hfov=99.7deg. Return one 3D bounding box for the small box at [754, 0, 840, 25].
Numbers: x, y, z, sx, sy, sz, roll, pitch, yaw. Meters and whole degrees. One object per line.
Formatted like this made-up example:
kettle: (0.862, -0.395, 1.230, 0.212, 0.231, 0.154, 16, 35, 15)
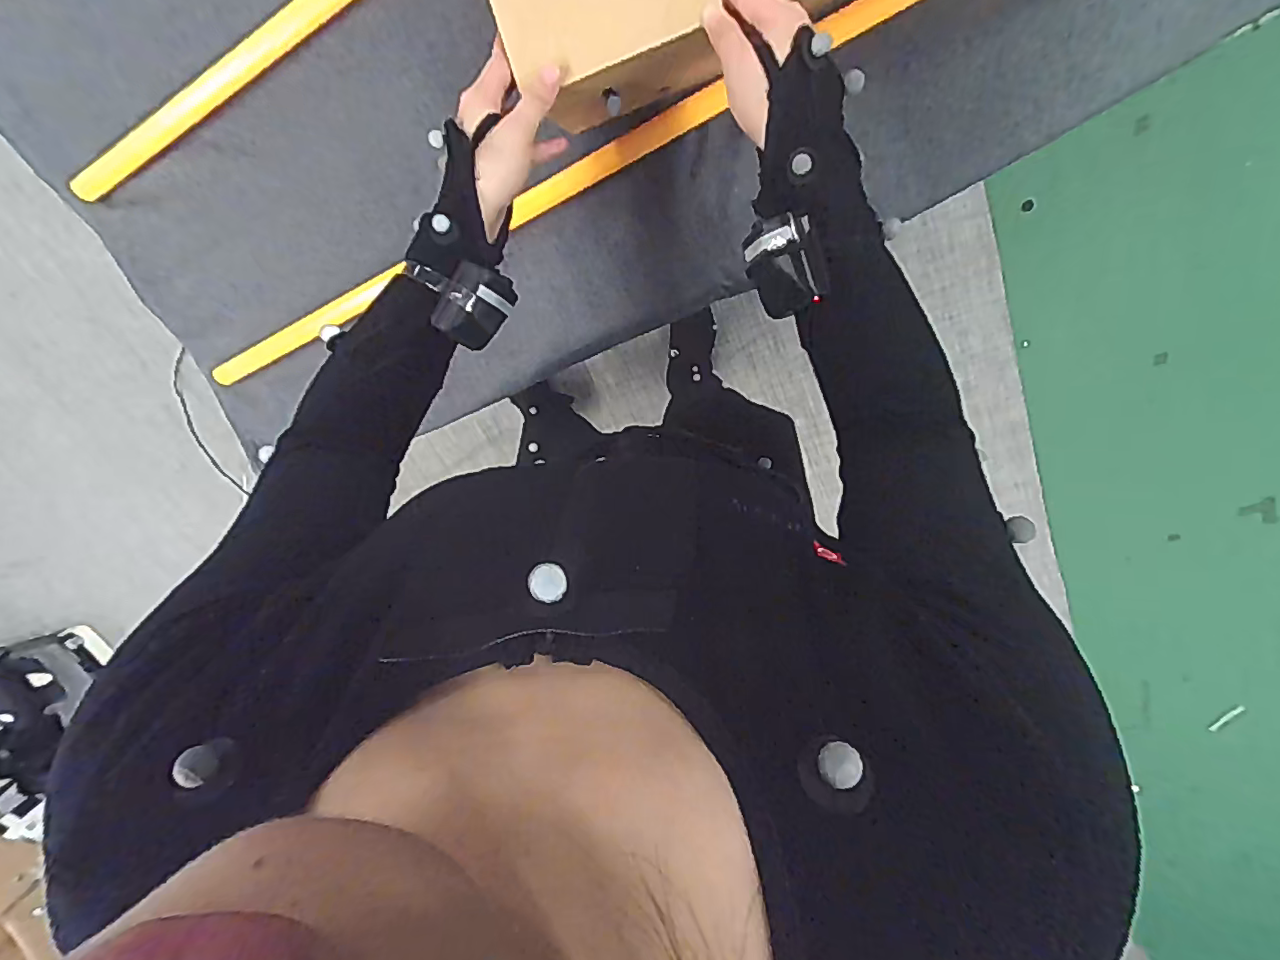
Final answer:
small box: (0.150, -0.477, 0.392, 0.168, 0.176, 0.179, -16, 112, 17)
